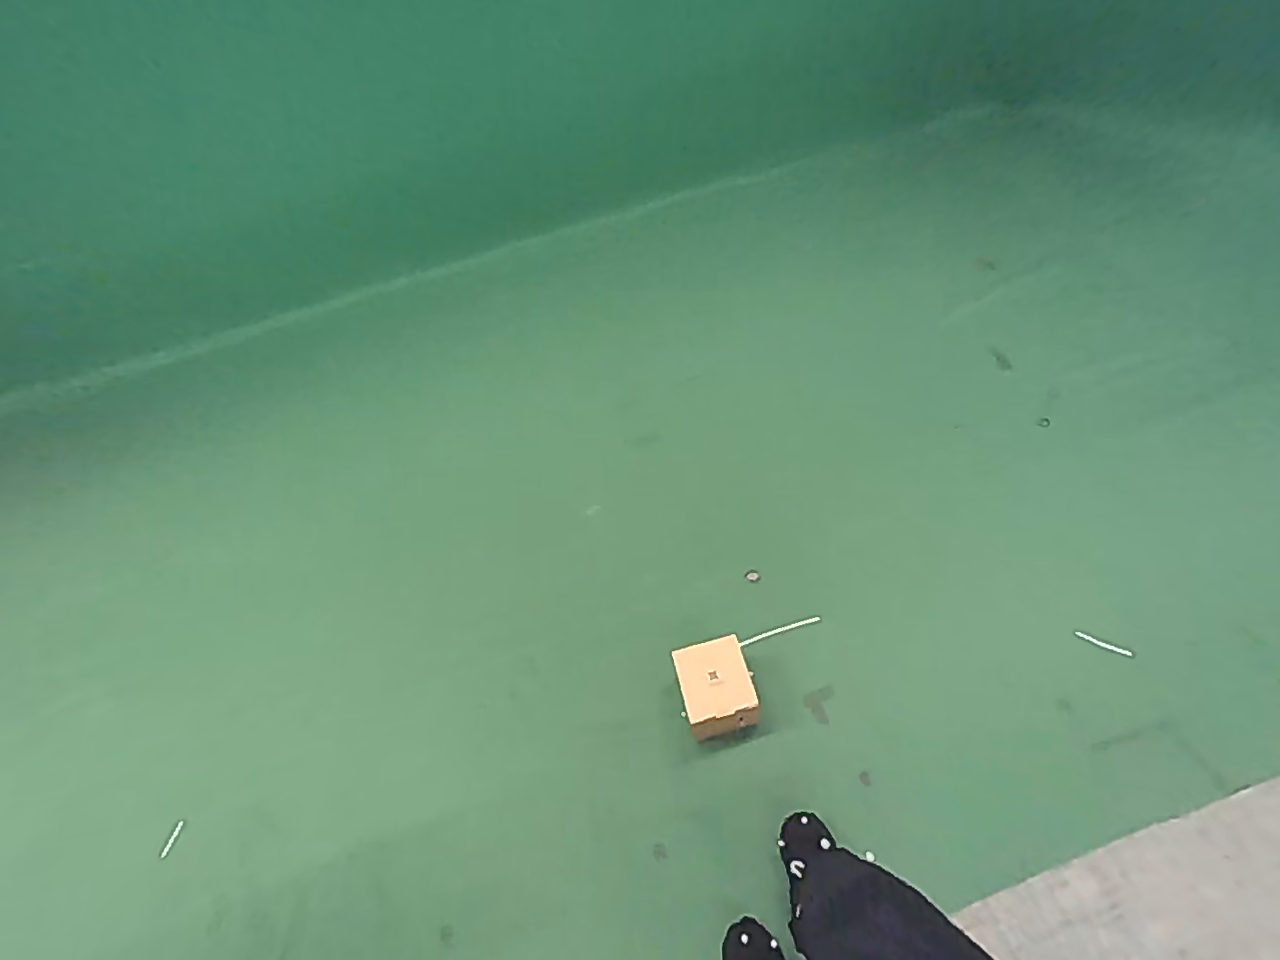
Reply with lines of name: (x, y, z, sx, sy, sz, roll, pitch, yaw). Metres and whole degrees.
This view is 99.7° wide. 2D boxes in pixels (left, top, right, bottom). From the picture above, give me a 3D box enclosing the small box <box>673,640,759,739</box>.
small box: (0.188, 0.526, 1.337, 0.168, 0.176, 0.179, -15, 52, -1)
